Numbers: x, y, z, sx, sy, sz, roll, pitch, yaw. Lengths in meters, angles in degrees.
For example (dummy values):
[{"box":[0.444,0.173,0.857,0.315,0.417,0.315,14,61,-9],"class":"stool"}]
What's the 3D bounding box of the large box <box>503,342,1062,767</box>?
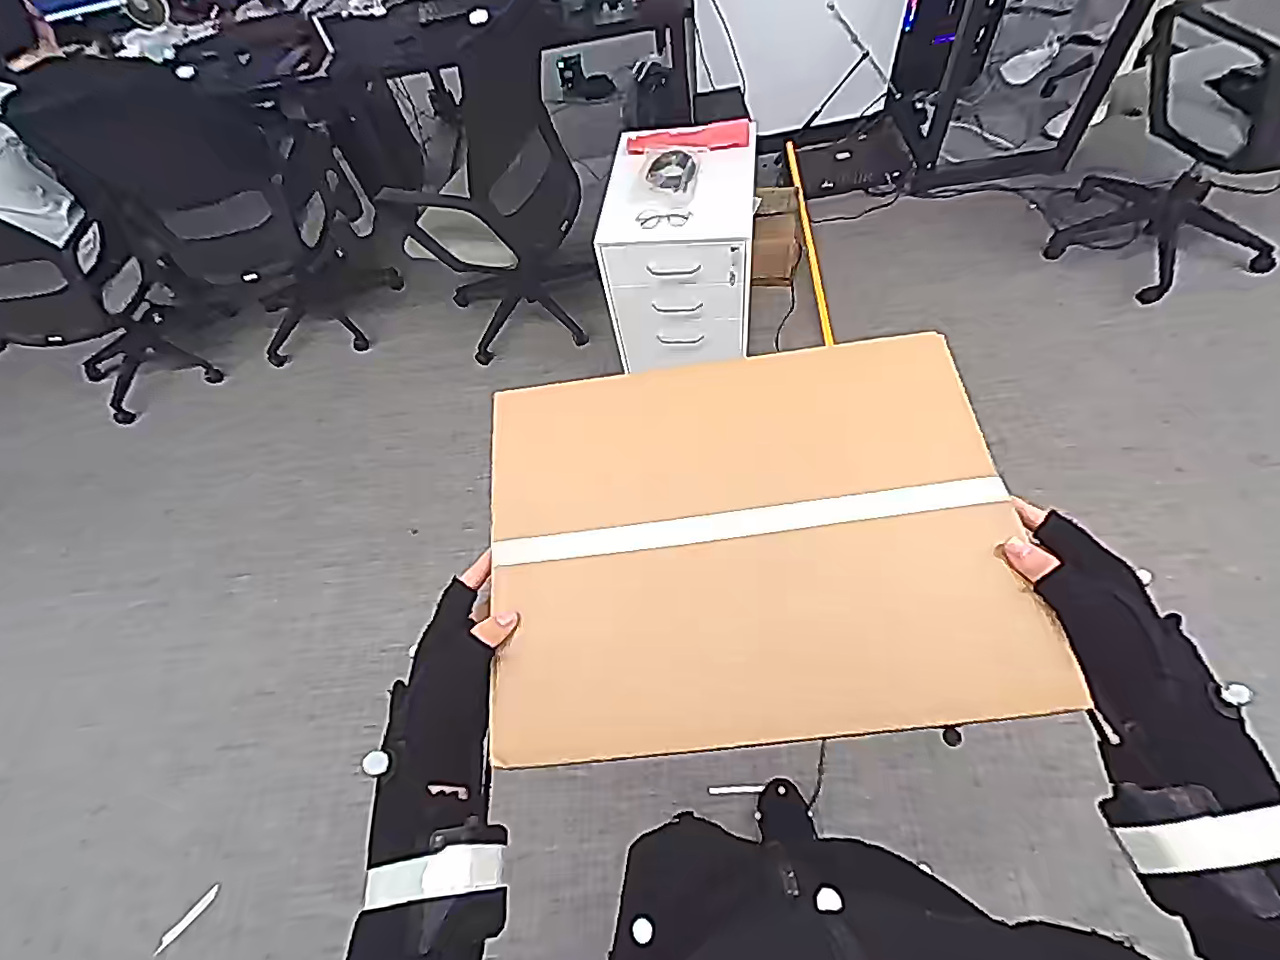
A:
[{"box":[0.100,0.098,0.578,0.408,0.320,0.320,-8,65,4],"class":"large box"}]
